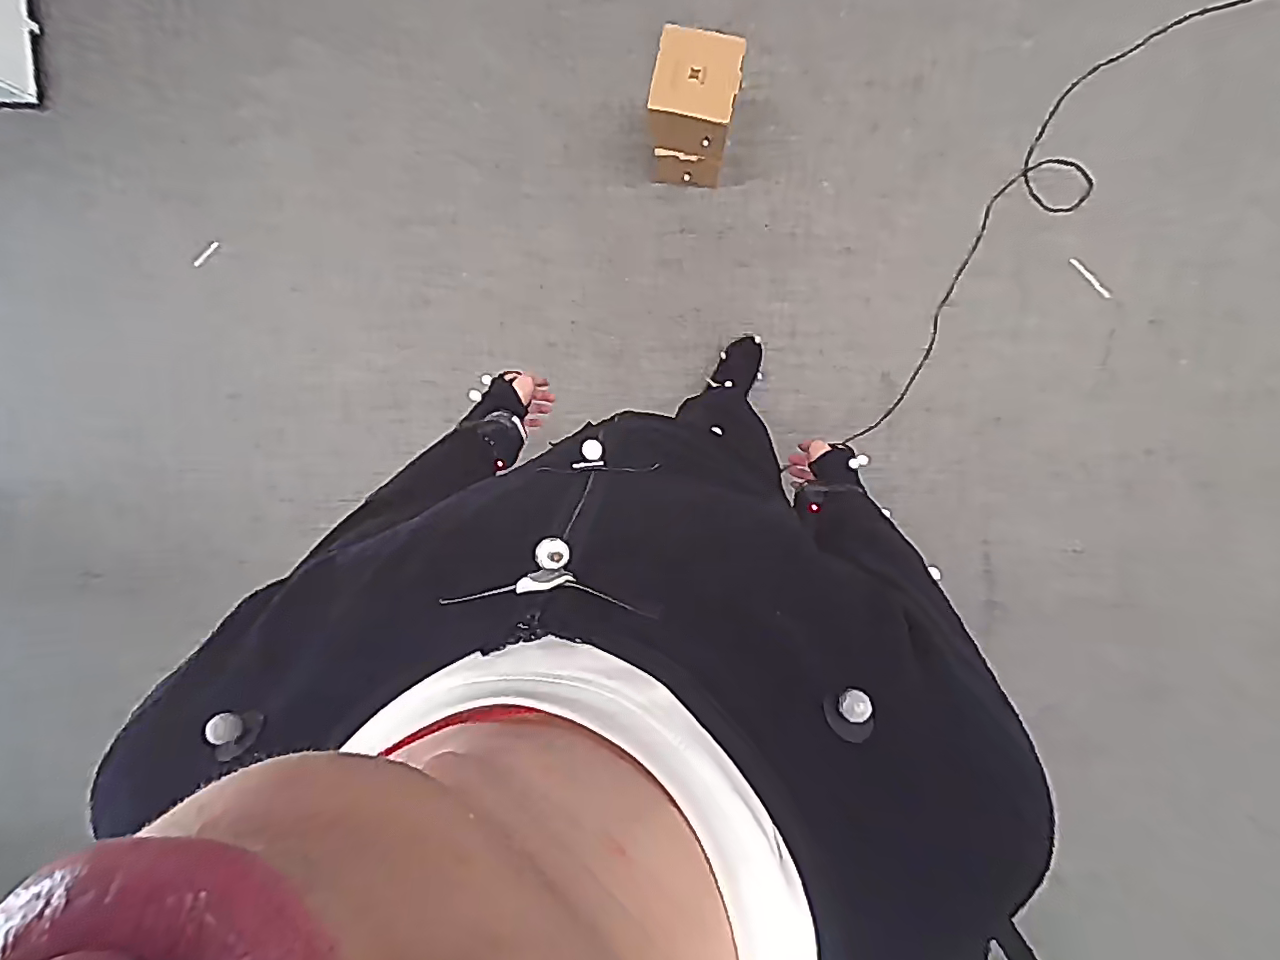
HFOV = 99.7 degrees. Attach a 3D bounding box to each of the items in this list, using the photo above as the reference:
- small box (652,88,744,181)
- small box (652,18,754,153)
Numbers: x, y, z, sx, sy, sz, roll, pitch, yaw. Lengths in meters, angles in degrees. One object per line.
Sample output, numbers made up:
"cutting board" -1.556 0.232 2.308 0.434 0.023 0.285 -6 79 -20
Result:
"small box" 0.144 -0.876 1.332 0.179 0.176 0.168 -21 95 9
"small box" 0.134 -0.847 1.180 0.179 0.176 0.168 14 98 4
